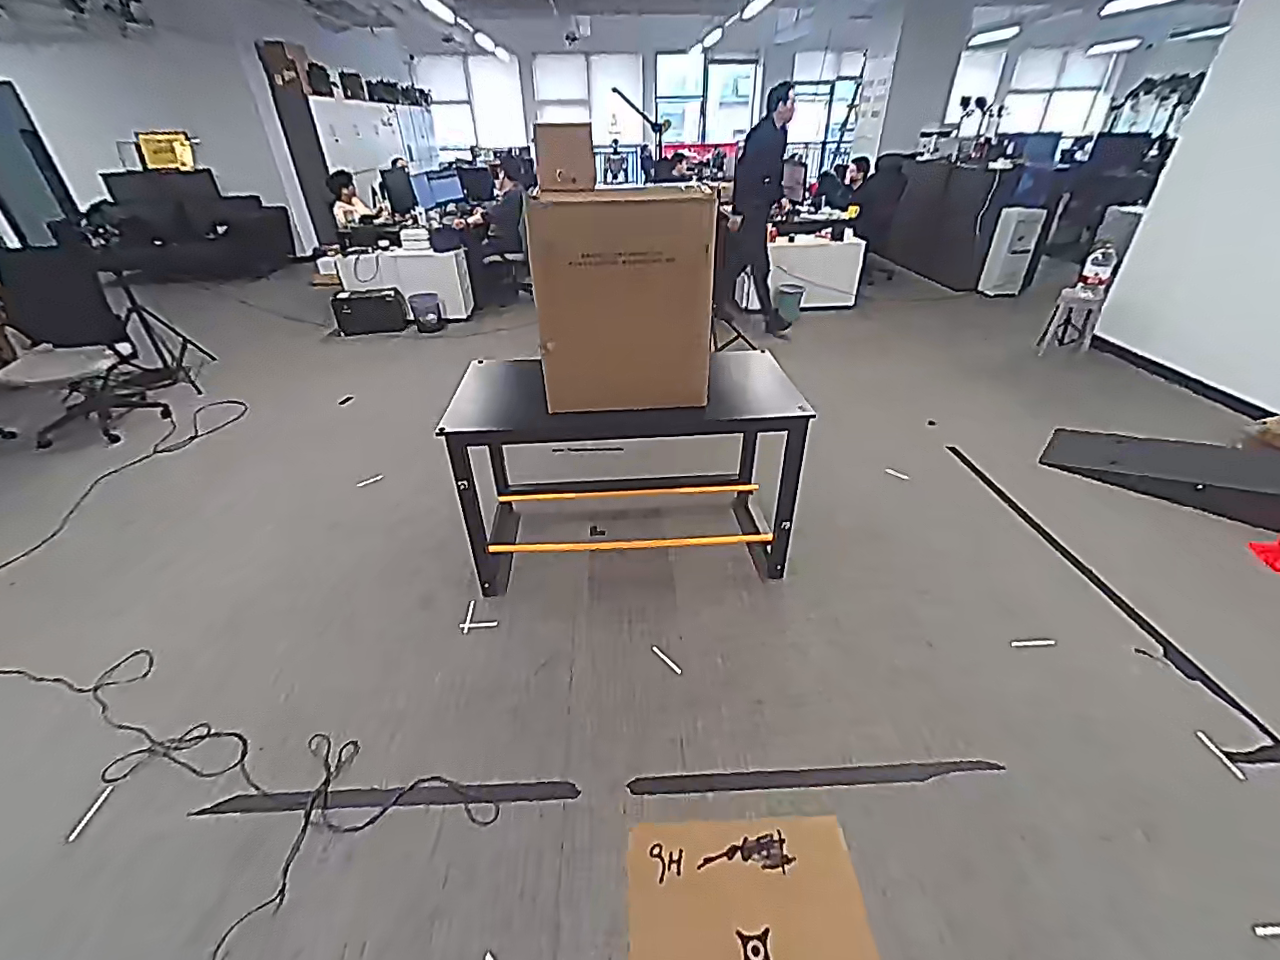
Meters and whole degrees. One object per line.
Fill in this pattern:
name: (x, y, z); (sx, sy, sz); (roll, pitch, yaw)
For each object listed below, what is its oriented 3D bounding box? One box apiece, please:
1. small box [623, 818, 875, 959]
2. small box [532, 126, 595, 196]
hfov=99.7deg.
small box: (0.074, 0.379, 0.398); (0.168, 0.176, 0.179); (-2, 39, -1)
small box: (-0.221, -0.938, 1.592); (0.168, 0.176, 0.179); (-5, 33, -4)
